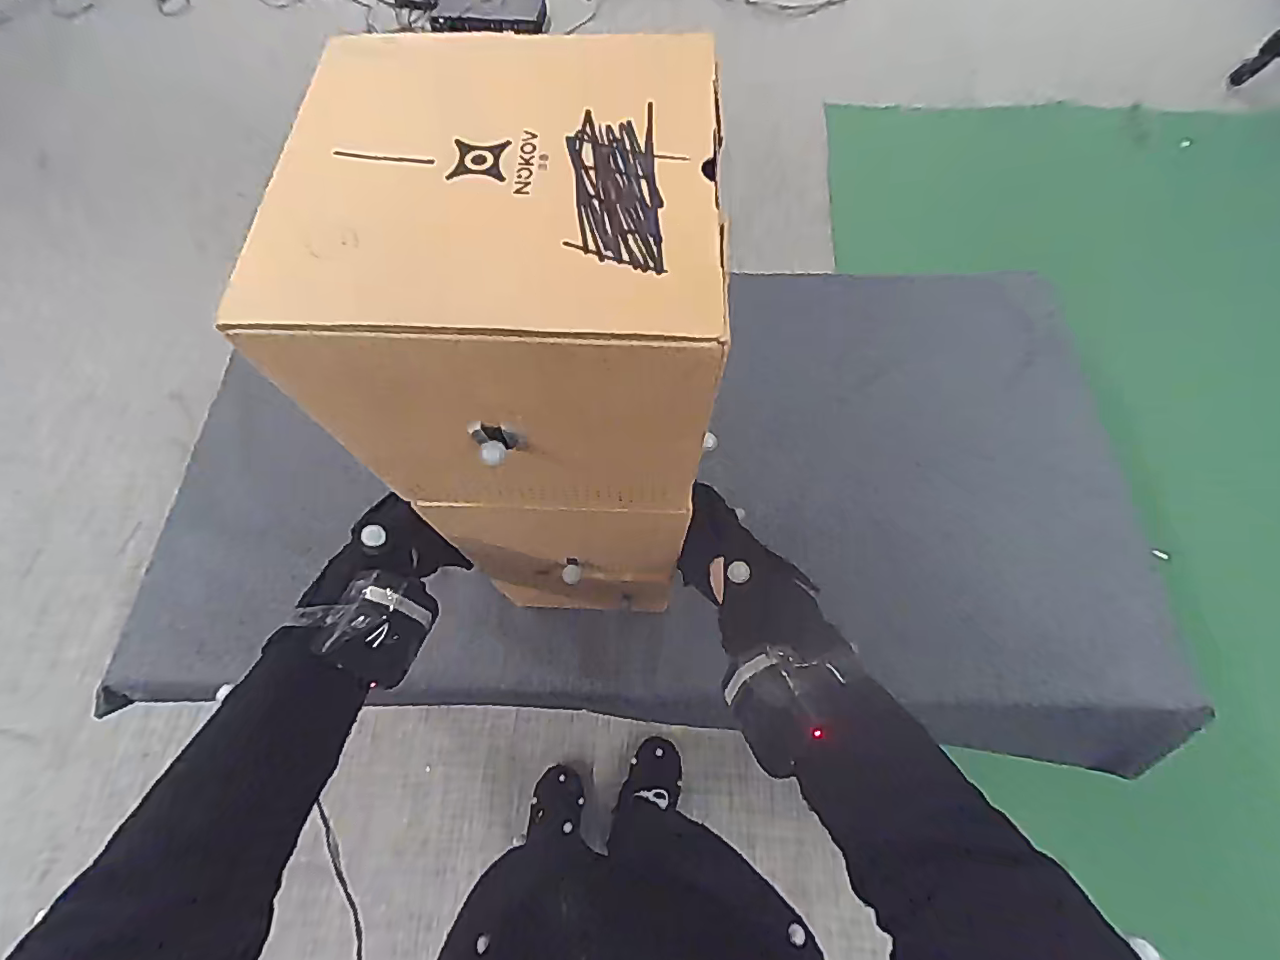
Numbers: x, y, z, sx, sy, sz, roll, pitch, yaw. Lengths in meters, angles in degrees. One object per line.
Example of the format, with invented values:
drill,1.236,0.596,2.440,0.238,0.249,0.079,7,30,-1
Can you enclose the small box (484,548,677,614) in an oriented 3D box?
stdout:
small box,-0.051,0.048,0.591,0.179,0.176,0.168,1,66,2

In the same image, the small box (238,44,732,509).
small box,-0.052,-0.089,0.292,0.179,0.176,0.168,2,67,1

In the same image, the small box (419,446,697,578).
small box,-0.052,-0.022,0.442,0.179,0.176,0.168,2,65,-1
